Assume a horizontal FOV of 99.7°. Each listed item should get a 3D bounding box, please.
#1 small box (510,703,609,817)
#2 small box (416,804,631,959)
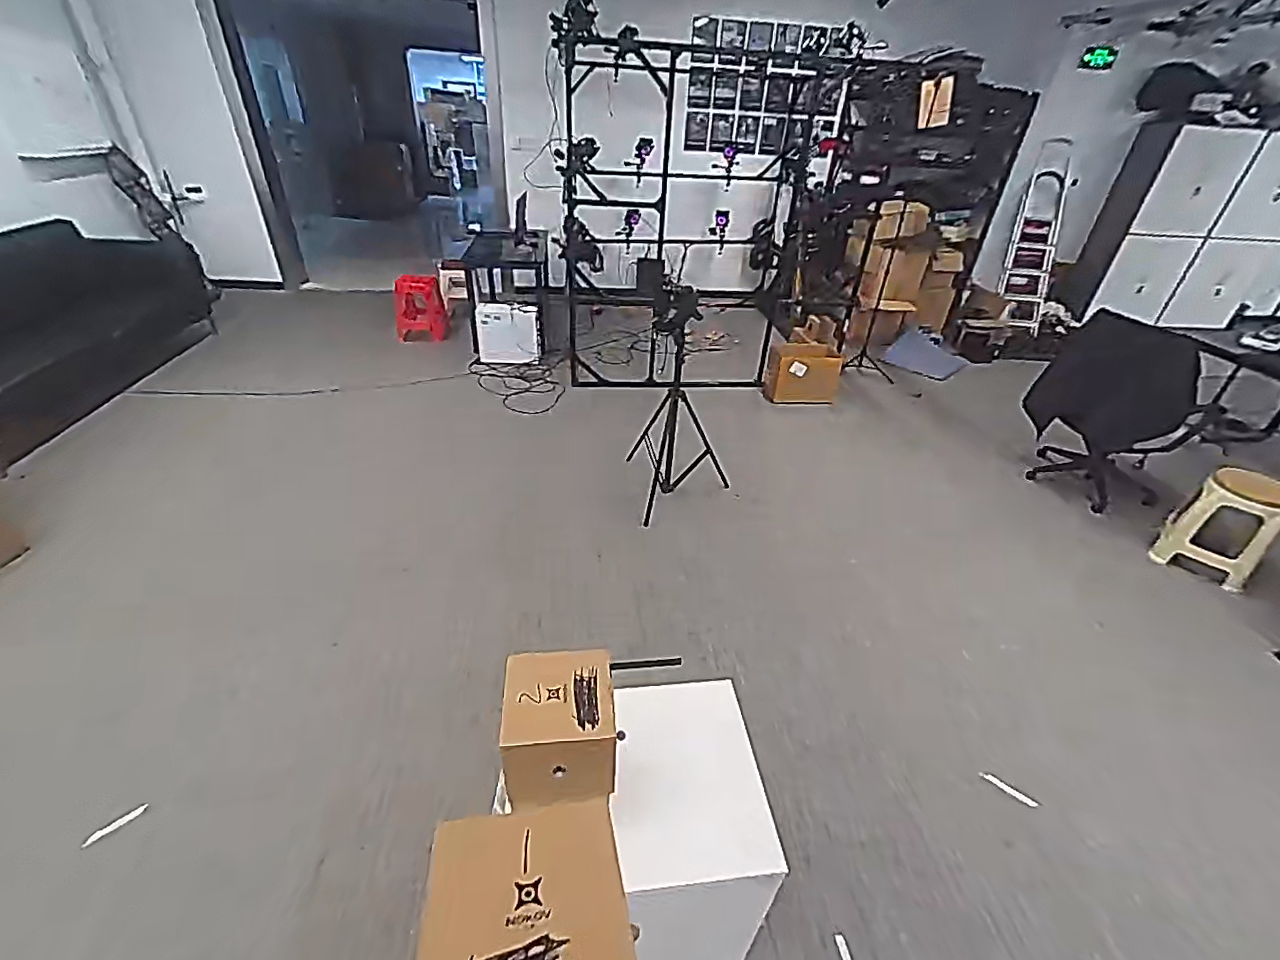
[{"bbox_3d":[-0.143,0.544,1.001,0.168,0.176,0.179,-1,34,-7],"label":"small box"},{"bbox_3d":[-0.099,0.431,0.473,0.168,0.176,0.179,-1,20,-13],"label":"small box"}]
